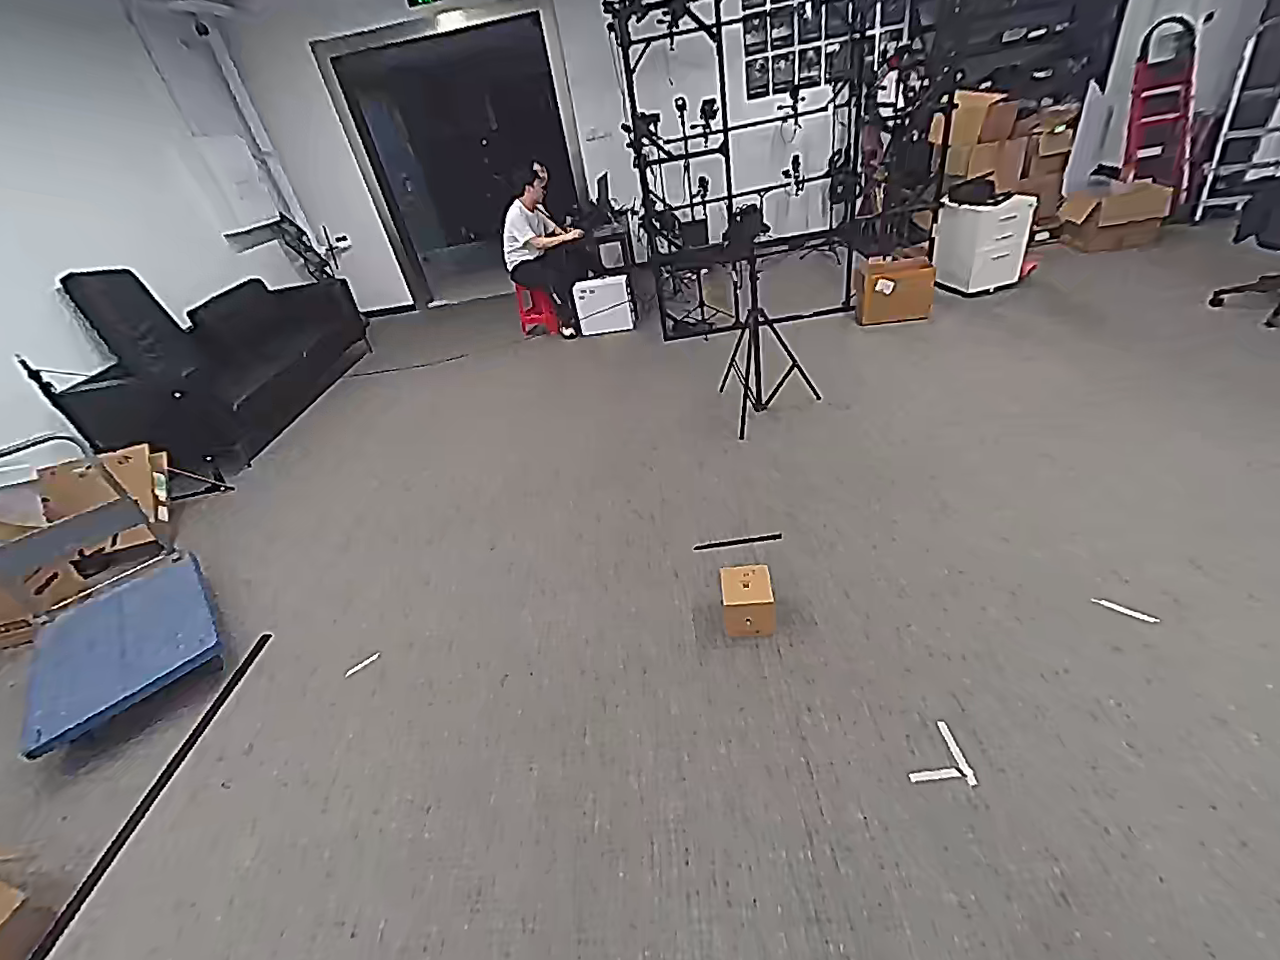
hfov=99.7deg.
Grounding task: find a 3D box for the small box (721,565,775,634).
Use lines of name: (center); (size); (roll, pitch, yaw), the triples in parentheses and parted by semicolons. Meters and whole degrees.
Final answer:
small box: (0.371, 0.420, 1.871); (0.168, 0.176, 0.179); (-5, 34, 8)
